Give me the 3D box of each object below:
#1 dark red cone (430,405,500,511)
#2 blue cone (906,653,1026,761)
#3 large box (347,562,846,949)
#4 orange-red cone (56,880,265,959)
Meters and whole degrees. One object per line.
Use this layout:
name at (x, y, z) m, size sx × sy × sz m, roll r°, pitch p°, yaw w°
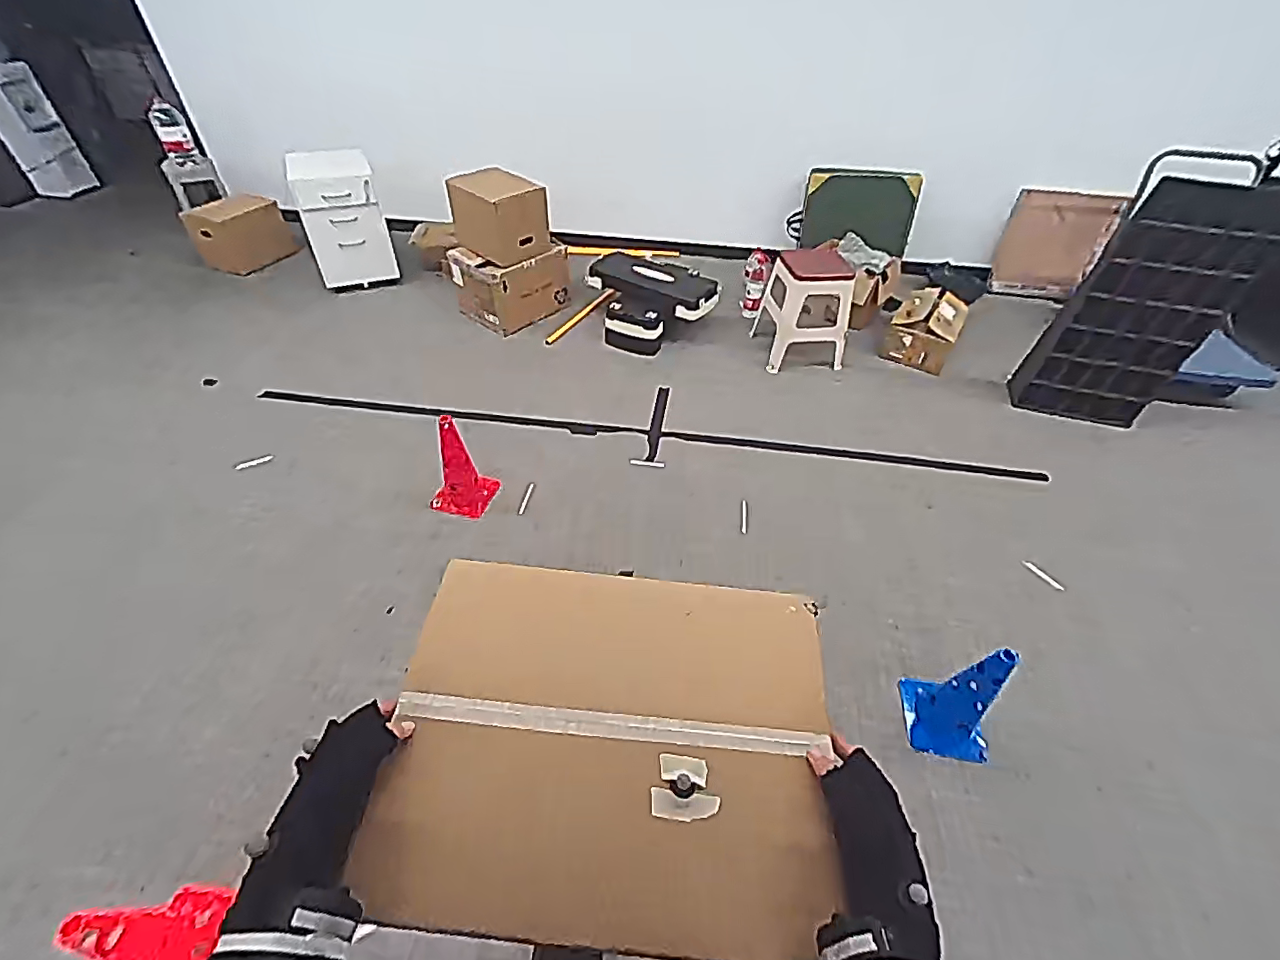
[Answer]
dark red cone at (-0.627, -0.089, 1.862) m, size 0.201 × 0.394 × 0.202 m, roll 12°, pitch 45°, yaw 8°
blue cone at (0.836, 0.537, 1.354) m, size 0.192 × 0.380 × 0.193 m, roll 10°, pitch 45°, yaw 6°
large box at (-0.033, 0.322, 0.629) m, size 0.408 × 0.320 × 0.320 m, roll 6°, pitch 51°, yaw 1°
orange-red cone at (-0.888, 0.815, 0.964) m, size 0.198 × 0.360 × 0.199 m, roll 5°, pitch 46°, yaw 4°
